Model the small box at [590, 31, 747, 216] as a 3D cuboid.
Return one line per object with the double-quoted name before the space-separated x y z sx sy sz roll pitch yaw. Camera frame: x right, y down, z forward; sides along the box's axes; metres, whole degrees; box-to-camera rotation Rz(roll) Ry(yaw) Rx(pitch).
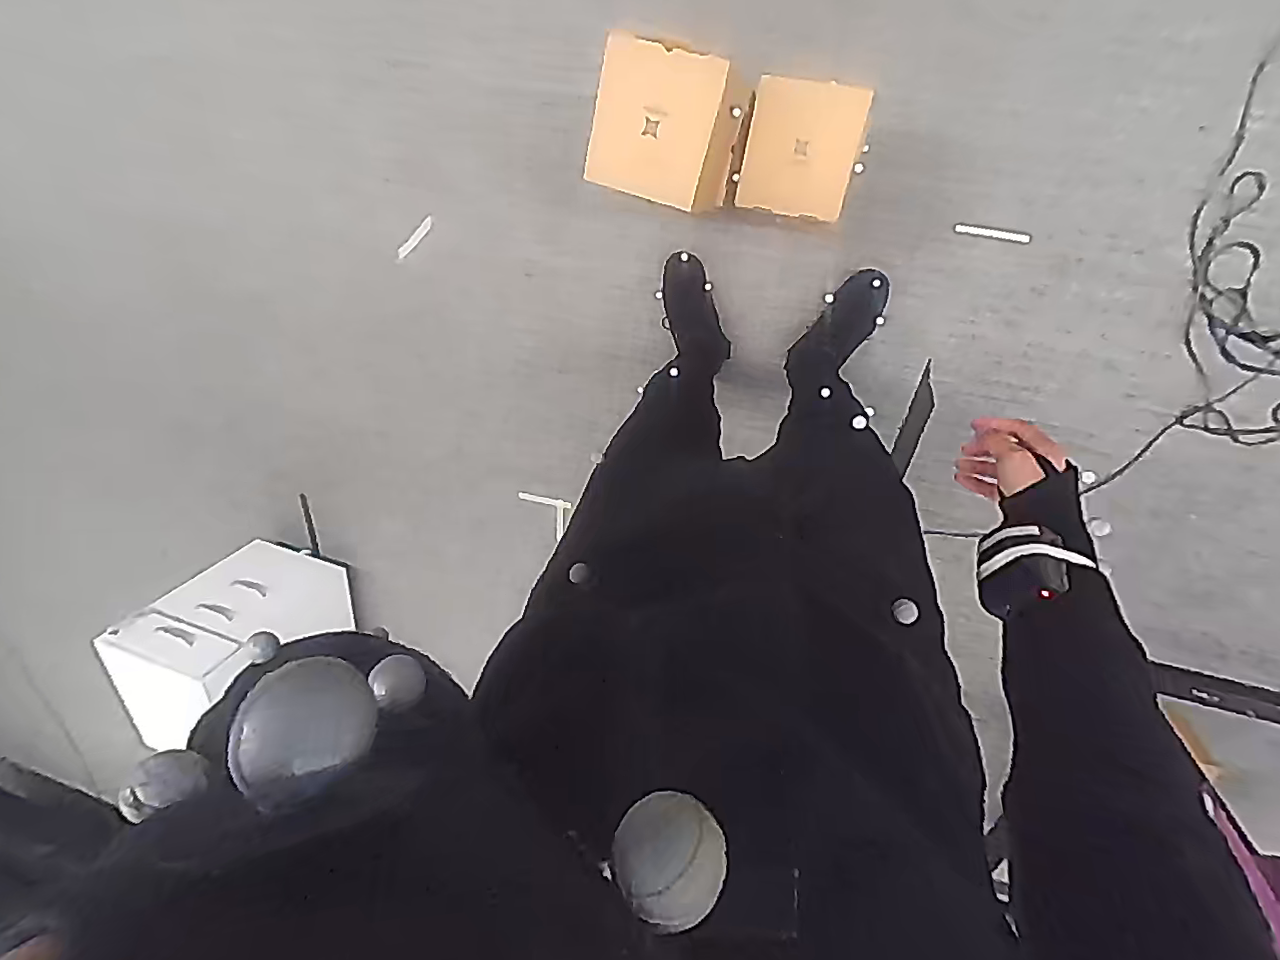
"small box" 0.048 -0.499 0.780 0.168 0.176 0.179 22 121 8
